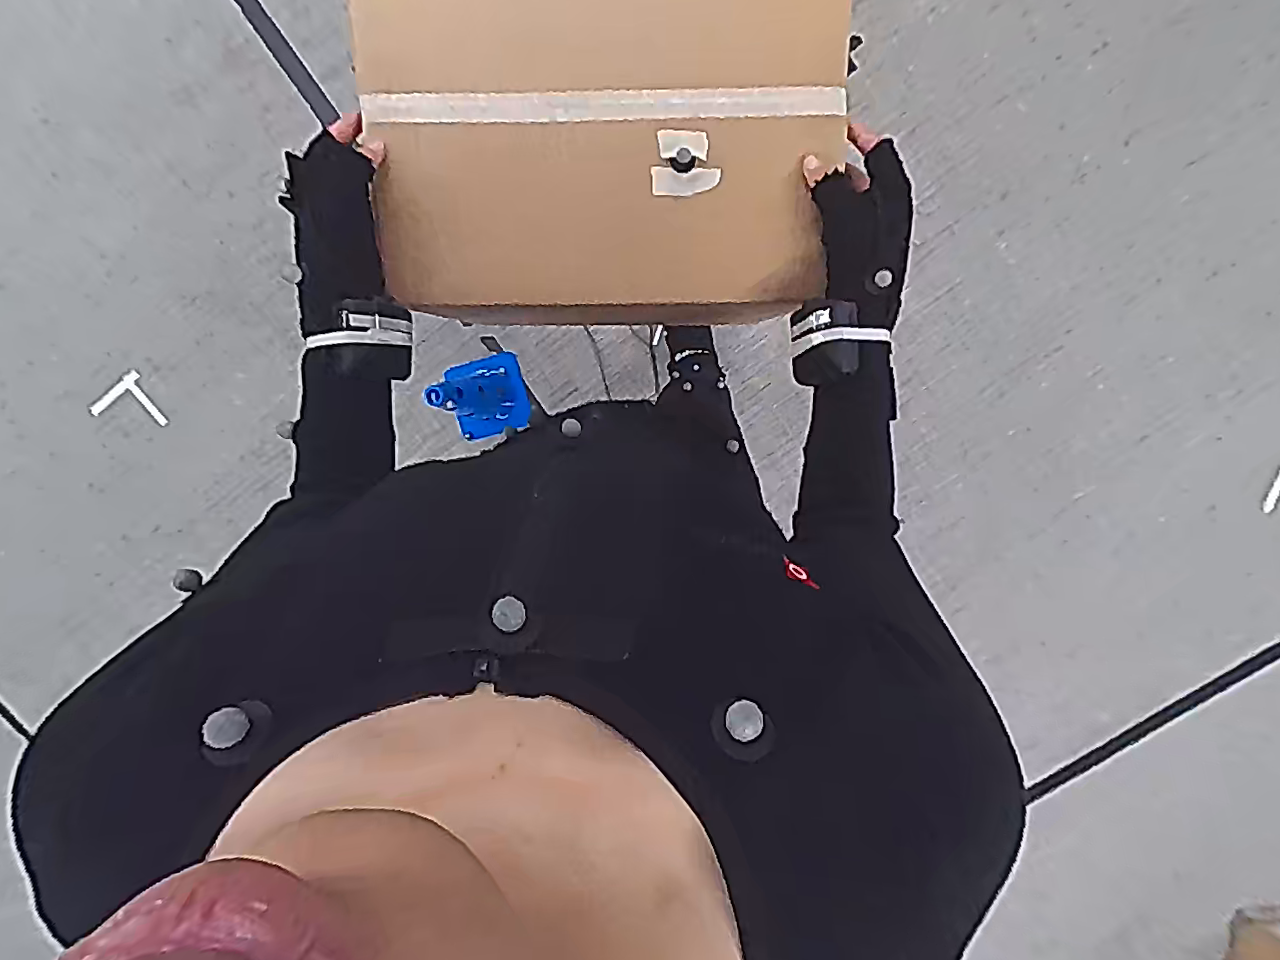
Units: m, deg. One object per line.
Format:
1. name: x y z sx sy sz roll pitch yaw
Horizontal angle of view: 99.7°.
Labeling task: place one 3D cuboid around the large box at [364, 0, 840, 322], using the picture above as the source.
1. large box: -0.032 -0.357 0.610 0.408 0.320 0.320 -1 103 0

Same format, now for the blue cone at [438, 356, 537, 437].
1. blue cone: -0.391 -0.198 1.285 0.193 0.380 0.192 -13 98 5
